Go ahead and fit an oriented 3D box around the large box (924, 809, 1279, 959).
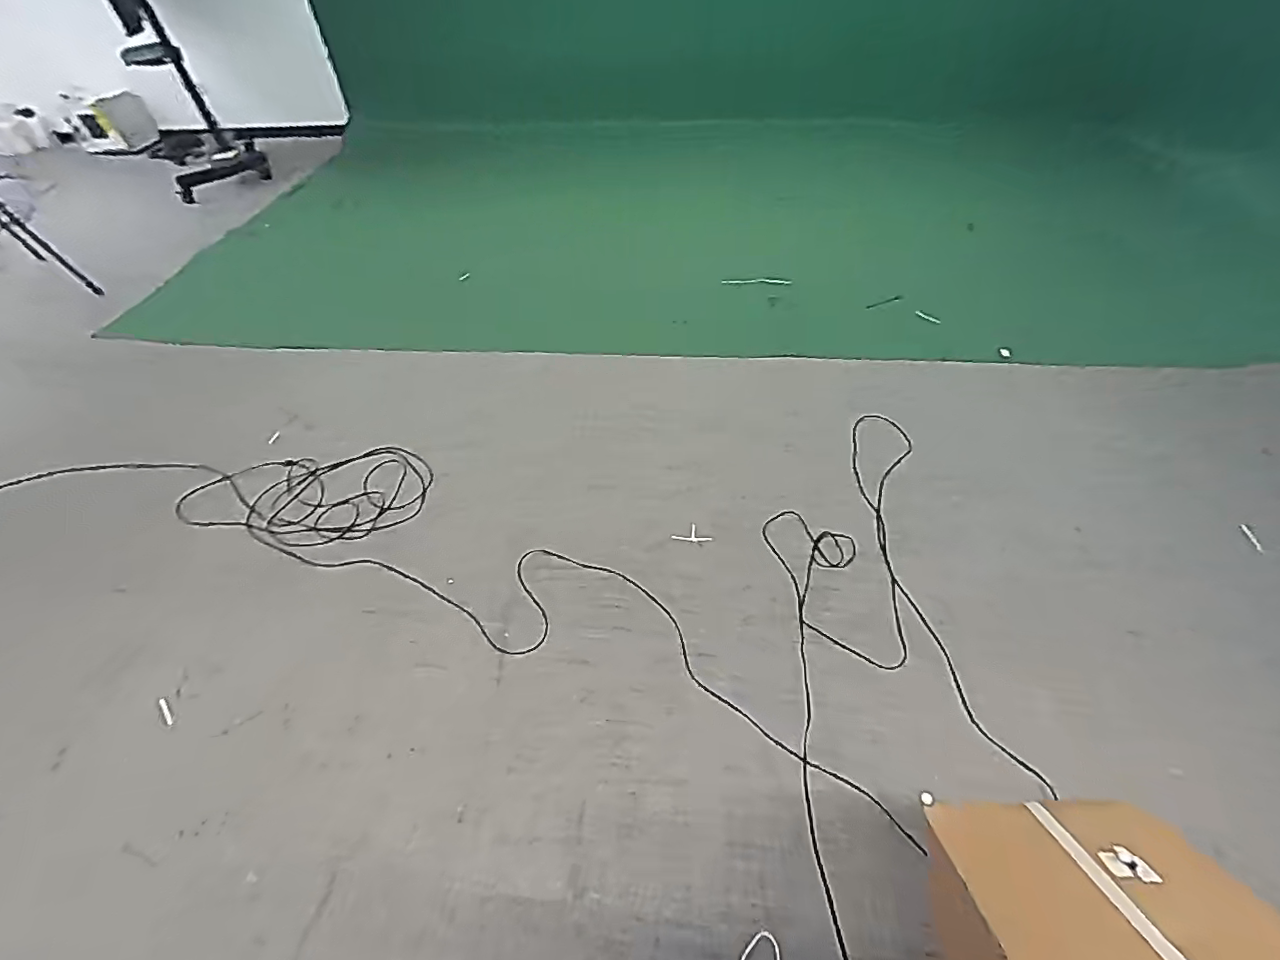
[{"bbox_3d":[0.580,0.662,0.630,0.320,0.408,0.320,-5,90,10],"label":"large box"}]
